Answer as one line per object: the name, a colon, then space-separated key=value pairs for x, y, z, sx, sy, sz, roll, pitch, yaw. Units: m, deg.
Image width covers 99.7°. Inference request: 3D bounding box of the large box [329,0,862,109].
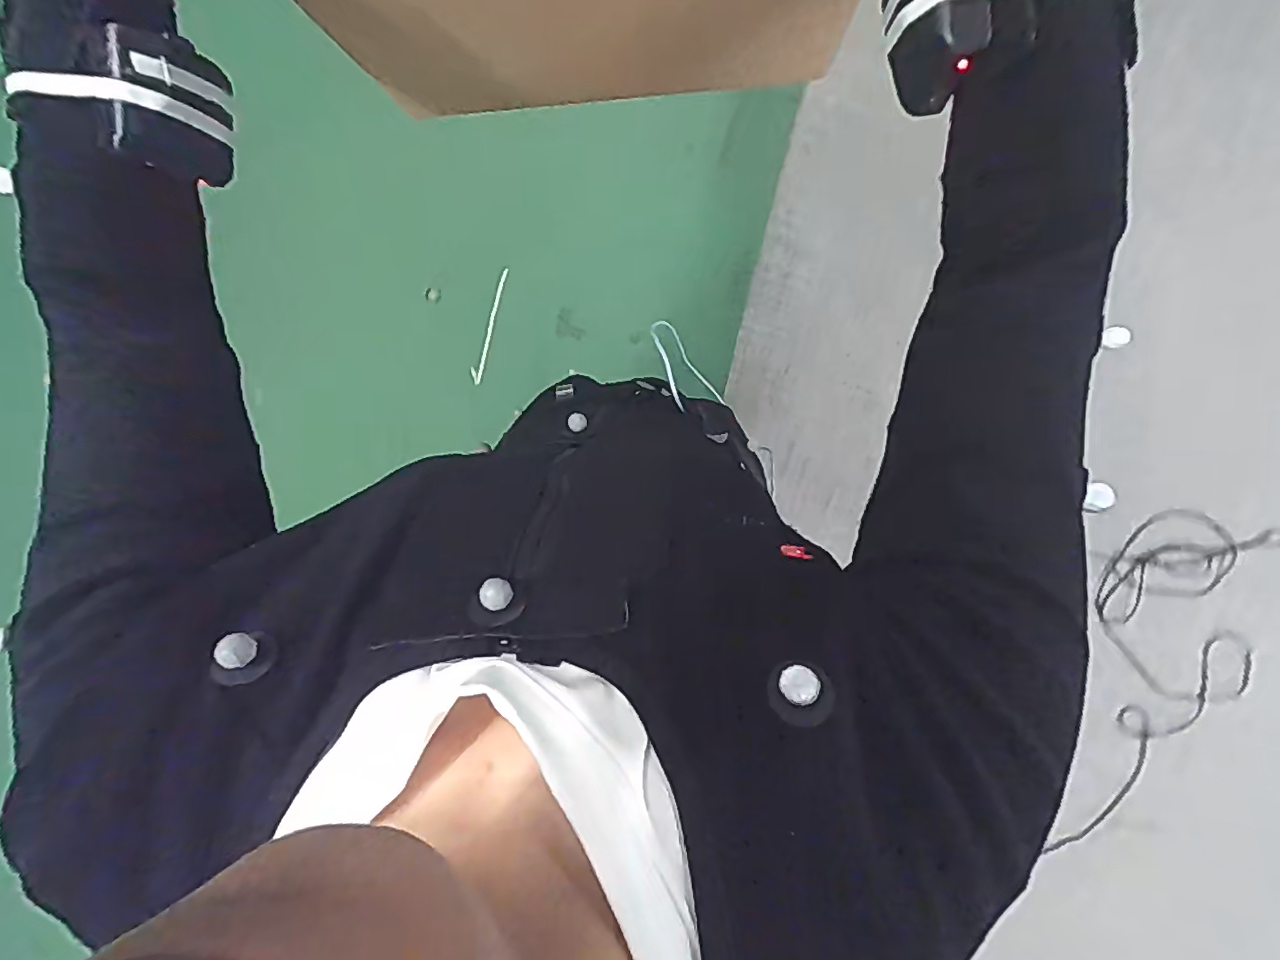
large box: x=-0.036 y=-0.496 z=0.350 sx=0.408 sy=0.320 sz=0.320 roll=-1 pitch=99 yaw=4
